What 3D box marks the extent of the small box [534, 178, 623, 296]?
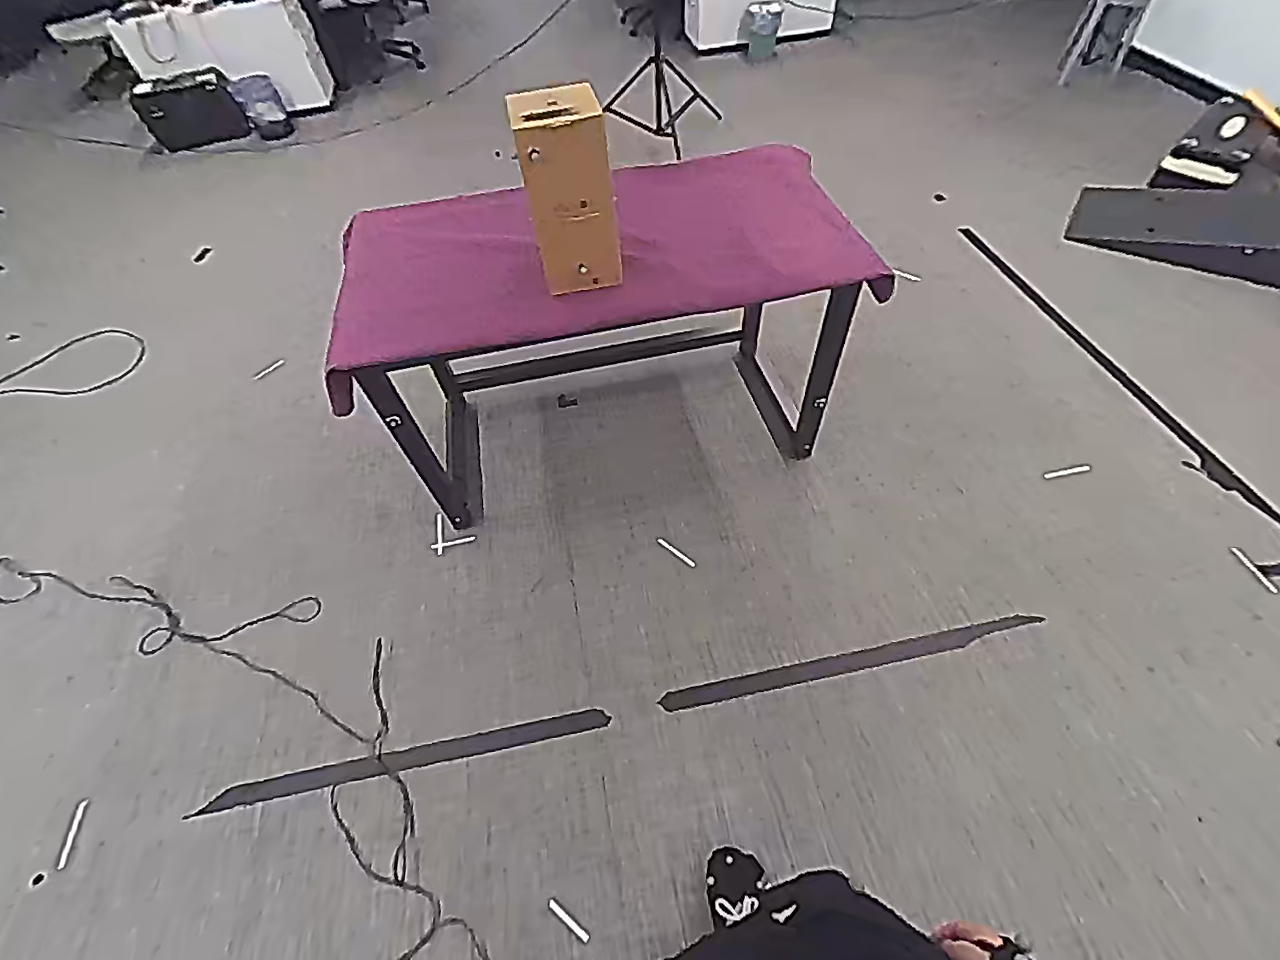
[{"bbox_3d":[-0.135,-0.534,1.194,0.168,0.176,0.179,-10,54,-2],"label":"small box"}]
